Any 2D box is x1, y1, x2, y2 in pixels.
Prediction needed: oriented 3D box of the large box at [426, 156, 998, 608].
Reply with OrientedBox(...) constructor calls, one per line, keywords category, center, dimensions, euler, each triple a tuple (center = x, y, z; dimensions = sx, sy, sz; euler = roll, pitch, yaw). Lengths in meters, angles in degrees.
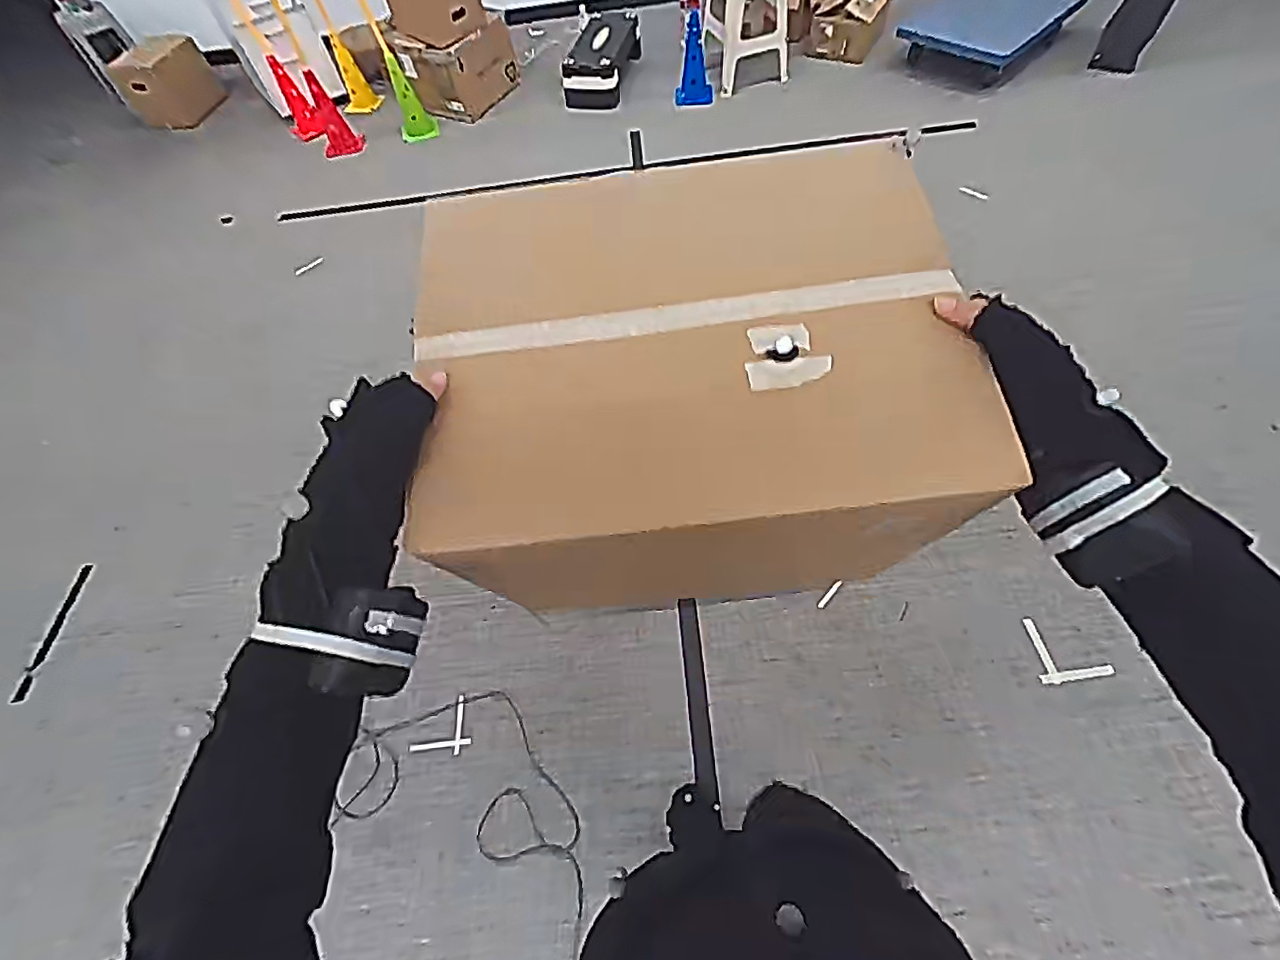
OrientedBox(category="large box", center=(0.040, -0.064, 0.561), dimensions=(0.408, 0.320, 0.320), euler=(-7, 69, 2))
